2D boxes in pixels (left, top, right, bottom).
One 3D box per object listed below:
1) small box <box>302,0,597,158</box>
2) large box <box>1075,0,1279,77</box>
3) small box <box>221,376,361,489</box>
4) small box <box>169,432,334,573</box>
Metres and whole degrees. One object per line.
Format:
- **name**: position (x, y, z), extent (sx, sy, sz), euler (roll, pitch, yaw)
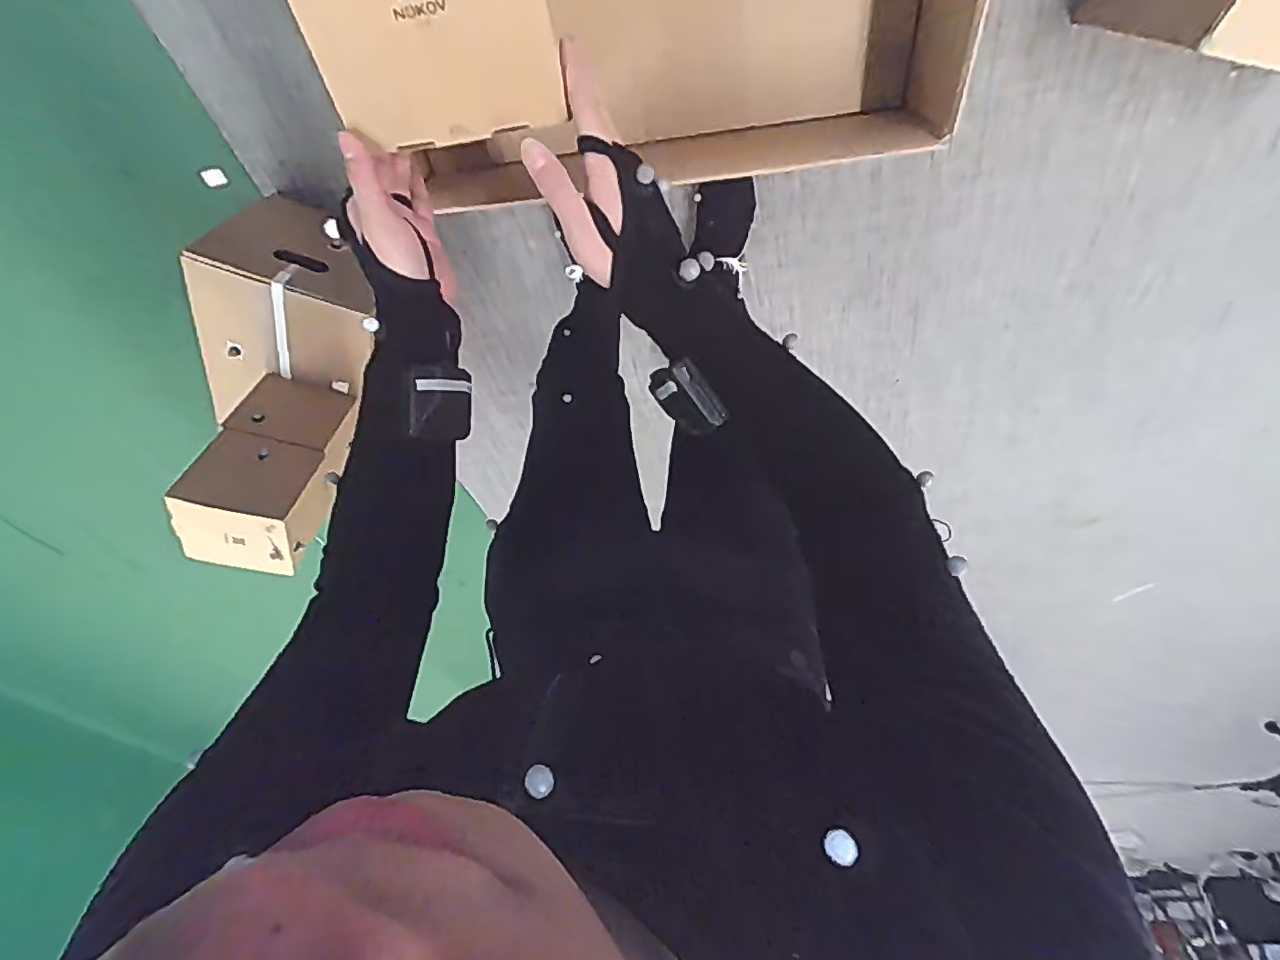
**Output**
- **small box**: position (-0.130, -0.364, 0.391), extent (0.168, 0.176, 0.179), euler (-5, 135, 7)
- **large box**: position (0.930, -0.734, 0.707), extent (0.408, 0.320, 0.320), euler (8, 135, -5)
- **small box**: position (-0.681, -0.082, 1.076), extent (0.179, 0.176, 0.168), euler (15, 134, -14)
- **small box**: position (-0.674, 0.037, 0.964), extent (0.179, 0.176, 0.168), euler (15, 134, -13)
